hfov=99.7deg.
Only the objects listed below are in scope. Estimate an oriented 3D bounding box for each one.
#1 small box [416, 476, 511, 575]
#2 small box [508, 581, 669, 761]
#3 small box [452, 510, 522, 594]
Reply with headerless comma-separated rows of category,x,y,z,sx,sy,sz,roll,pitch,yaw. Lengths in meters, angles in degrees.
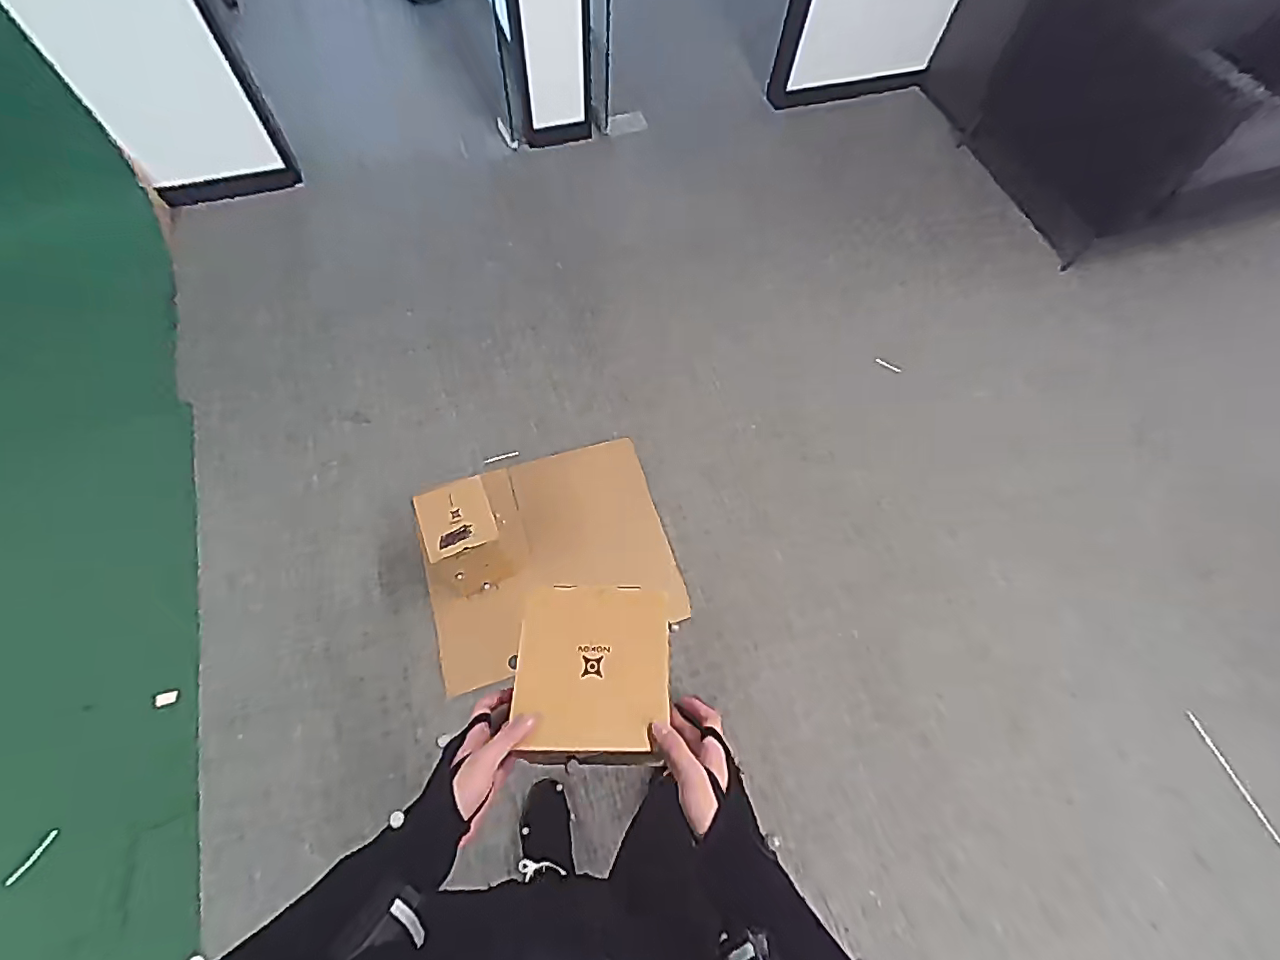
small box,-0.429,0.120,1.335,0.168,0.176,0.179,-20,67,-12
small box,-0.050,0.233,0.648,0.168,0.176,0.179,0,57,0
small box,-0.438,0.189,1.484,0.168,0.176,0.179,-22,69,-13
